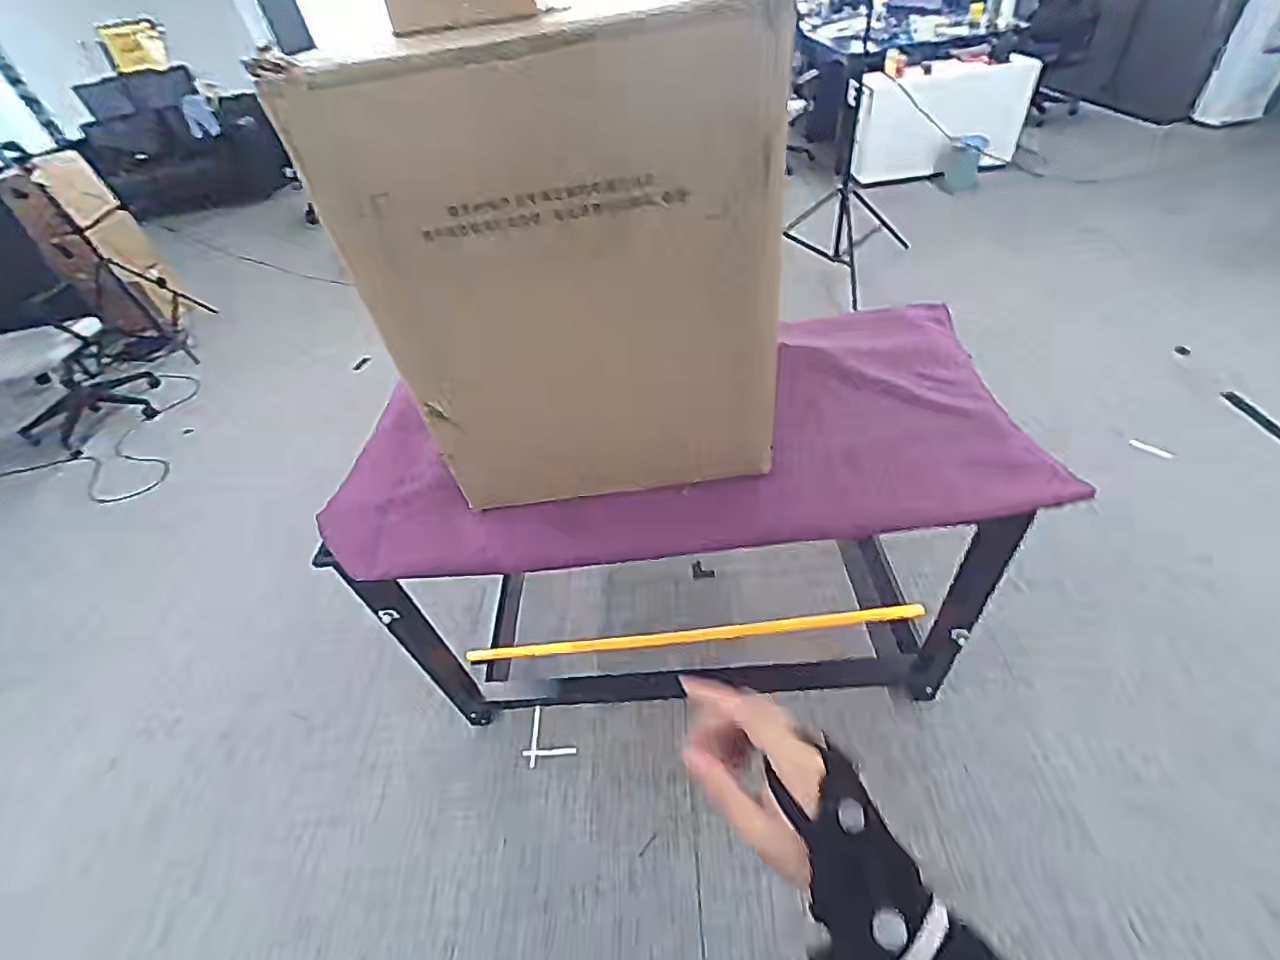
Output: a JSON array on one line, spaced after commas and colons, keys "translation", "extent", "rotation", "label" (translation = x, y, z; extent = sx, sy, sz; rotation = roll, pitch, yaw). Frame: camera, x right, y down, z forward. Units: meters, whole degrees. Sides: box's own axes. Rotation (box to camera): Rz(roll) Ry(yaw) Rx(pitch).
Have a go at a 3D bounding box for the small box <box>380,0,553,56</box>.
[{"translation": [-0.210, -0.617, 0.626], "extent": [0.179, 0.176, 0.168], "rotation": [-5, 45, 5], "label": "small box"}]
